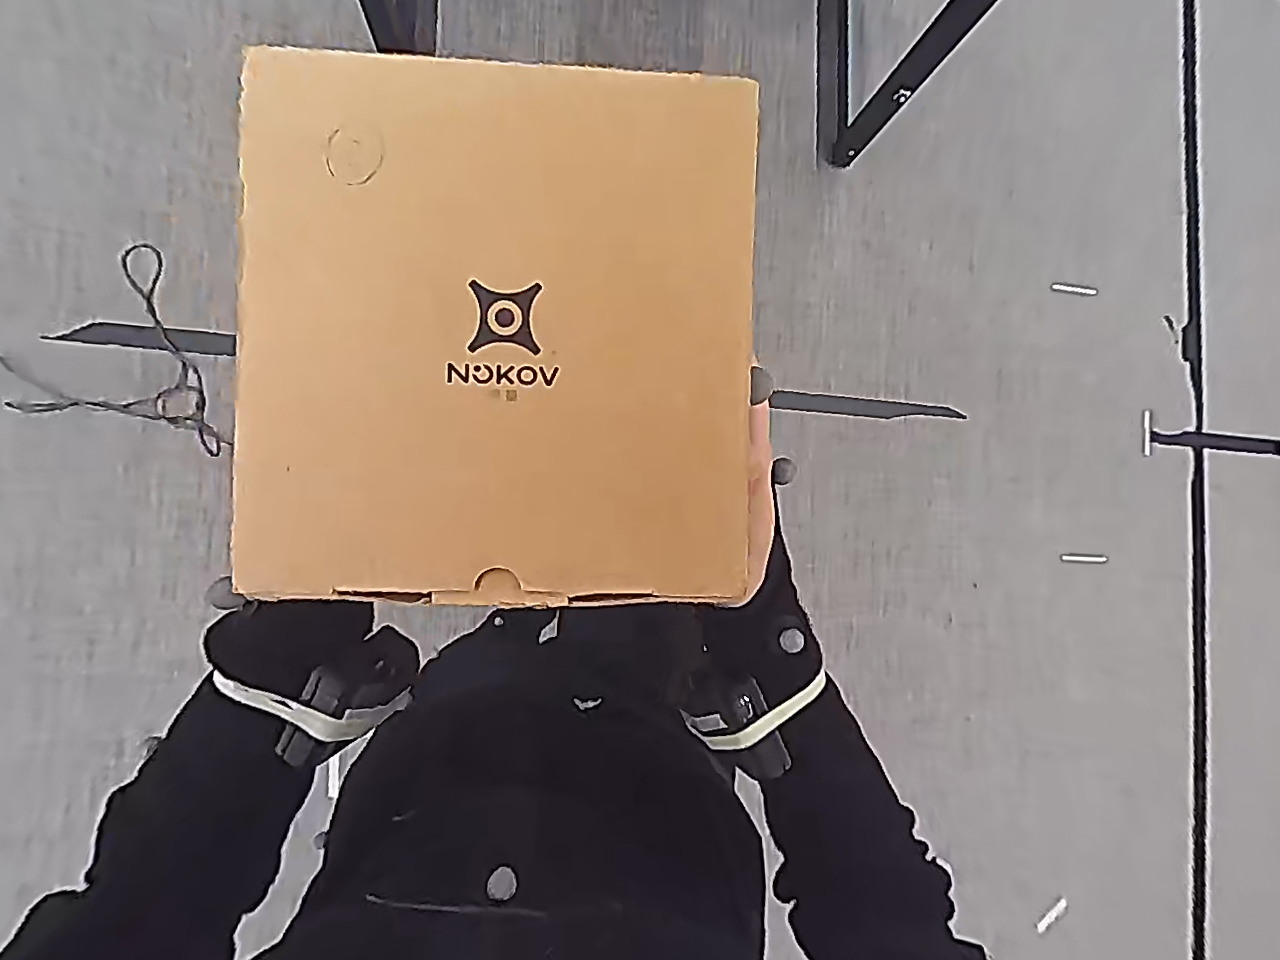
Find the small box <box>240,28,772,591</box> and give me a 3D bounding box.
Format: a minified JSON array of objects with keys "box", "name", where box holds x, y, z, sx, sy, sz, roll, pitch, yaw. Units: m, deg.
[{"box":[-0.045,-0.052,0.253,0.168,0.176,0.179,1,91,-4],"name":"small box"}]
